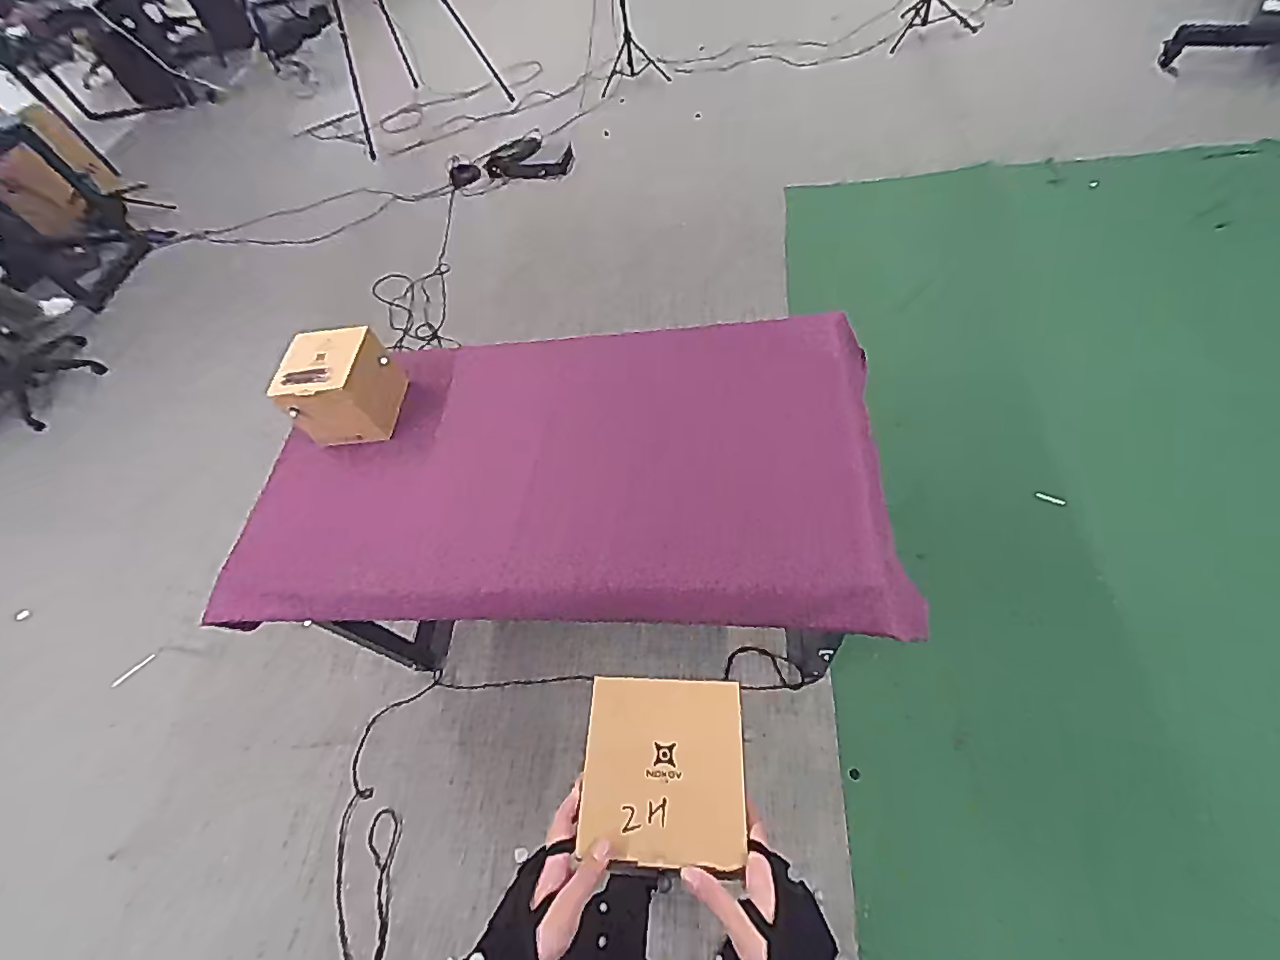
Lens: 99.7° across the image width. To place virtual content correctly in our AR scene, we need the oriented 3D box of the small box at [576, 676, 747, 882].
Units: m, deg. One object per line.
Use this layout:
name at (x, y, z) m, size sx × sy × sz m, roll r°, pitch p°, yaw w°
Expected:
small box at (0.030, 0.344, 0.622) m, size 0.168 × 0.176 × 0.179 m, roll 0°, pitch 52°, yaw 6°
